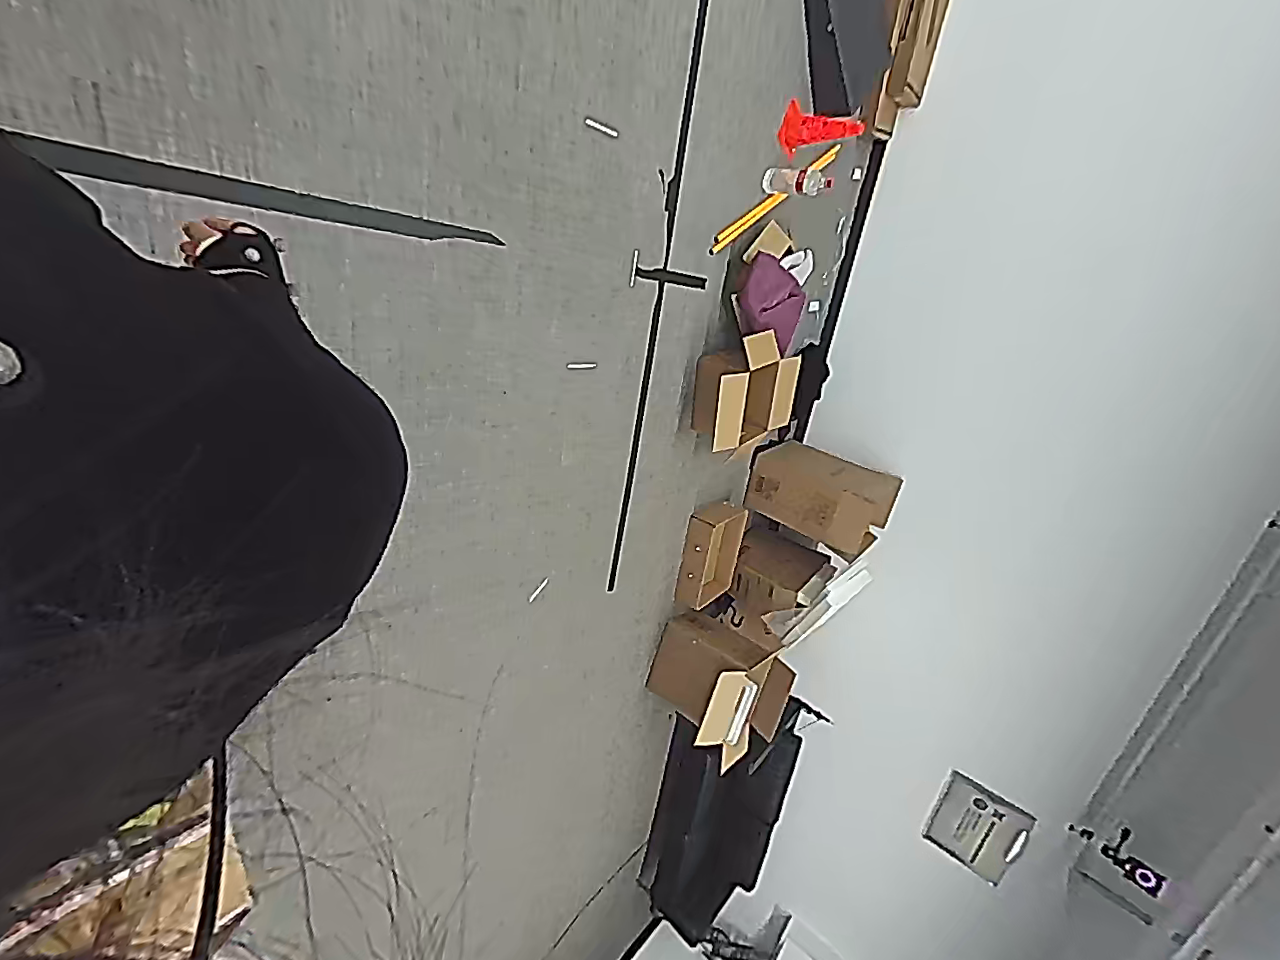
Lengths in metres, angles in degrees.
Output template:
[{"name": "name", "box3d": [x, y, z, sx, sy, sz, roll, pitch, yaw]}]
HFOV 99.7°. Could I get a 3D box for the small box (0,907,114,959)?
[{"name": "small box", "box3d": [-1.009, 0.885, 0.901, 0.179, 0.176, 0.168, -25, 126, -43]}]
